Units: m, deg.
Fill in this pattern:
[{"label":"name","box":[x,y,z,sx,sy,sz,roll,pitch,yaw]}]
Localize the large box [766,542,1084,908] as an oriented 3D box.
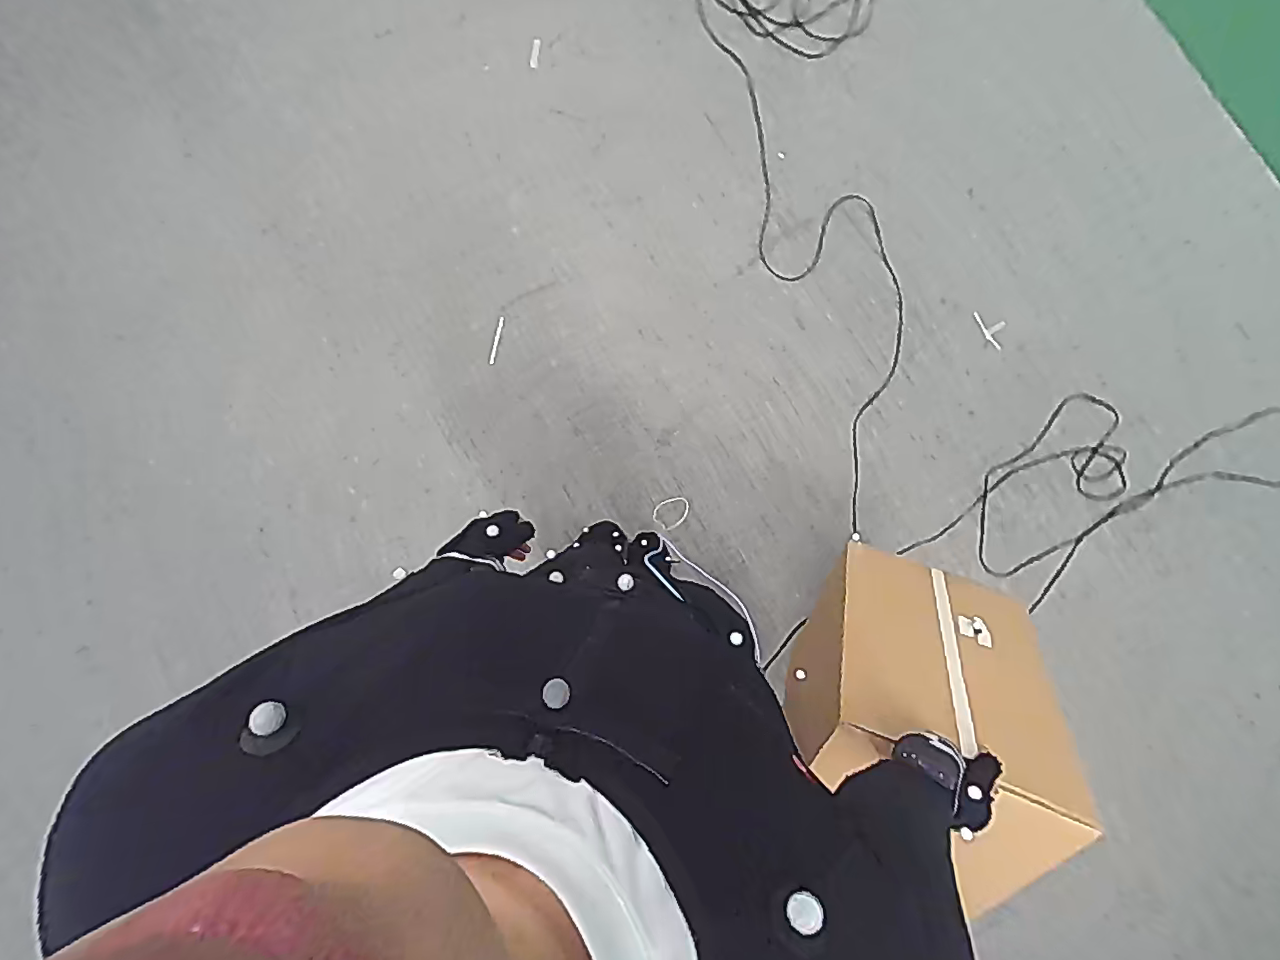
[{"label":"large box","box":[0.428,0.383,0.912,0.320,0.408,0.320,22,125,10]}]
